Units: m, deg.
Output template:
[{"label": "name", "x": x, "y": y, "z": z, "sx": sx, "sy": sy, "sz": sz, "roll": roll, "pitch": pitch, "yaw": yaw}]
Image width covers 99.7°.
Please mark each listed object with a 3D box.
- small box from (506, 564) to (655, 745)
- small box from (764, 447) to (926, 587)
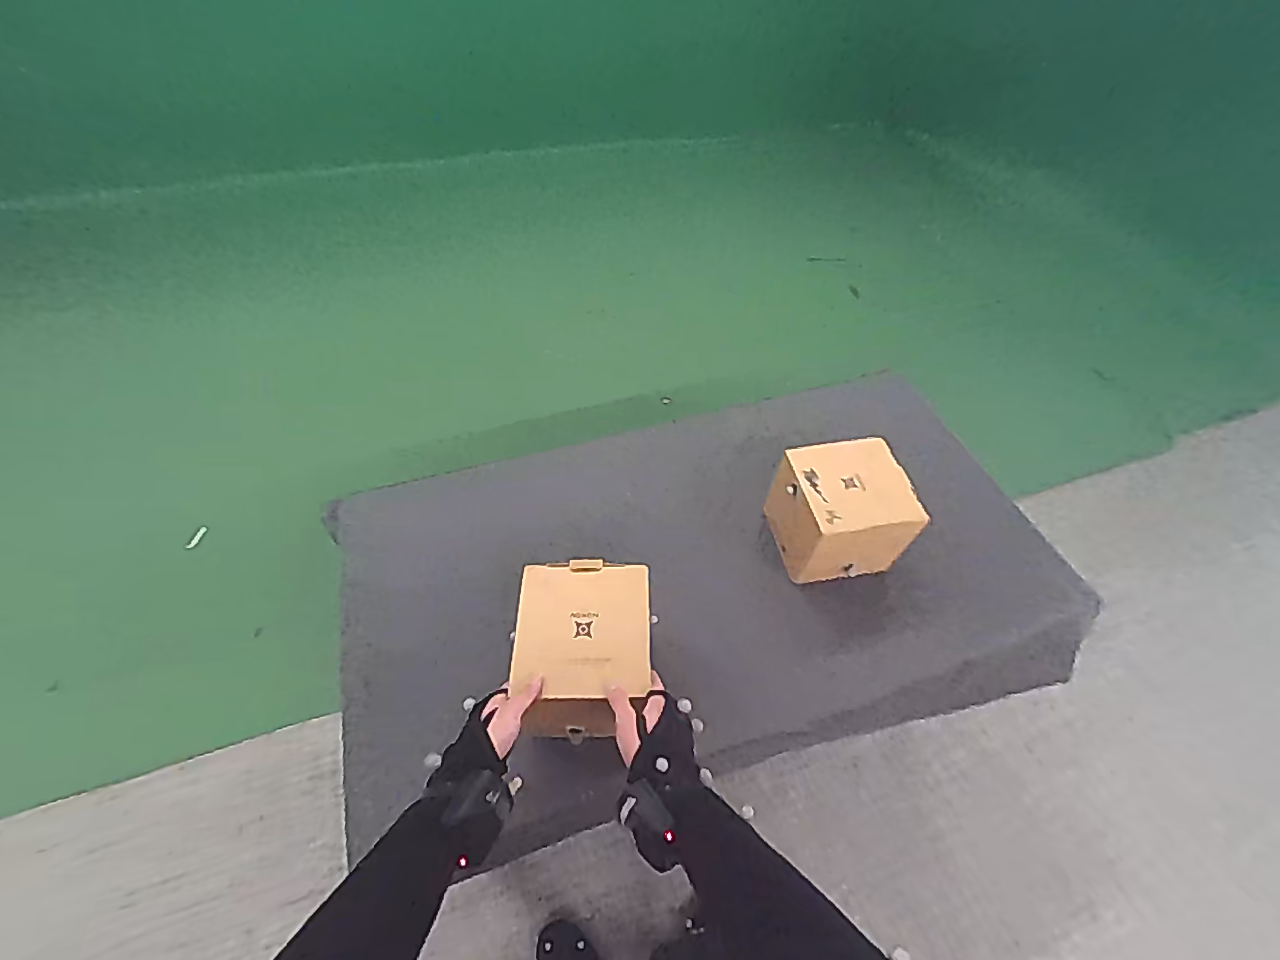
[{"label": "small box", "x": -0.067, "y": 0.230, "z": 0.711, "sx": 0.168, "sy": 0.176, "sz": 0.179, "roll": 1, "pitch": 51, "yaw": 1}, {"label": "small box", "x": 0.331, "y": 0.065, "z": 0.912, "sx": 0.179, "sy": 0.176, "sz": 0.168, "roll": -7, "pitch": 54, "yaw": -9}]
